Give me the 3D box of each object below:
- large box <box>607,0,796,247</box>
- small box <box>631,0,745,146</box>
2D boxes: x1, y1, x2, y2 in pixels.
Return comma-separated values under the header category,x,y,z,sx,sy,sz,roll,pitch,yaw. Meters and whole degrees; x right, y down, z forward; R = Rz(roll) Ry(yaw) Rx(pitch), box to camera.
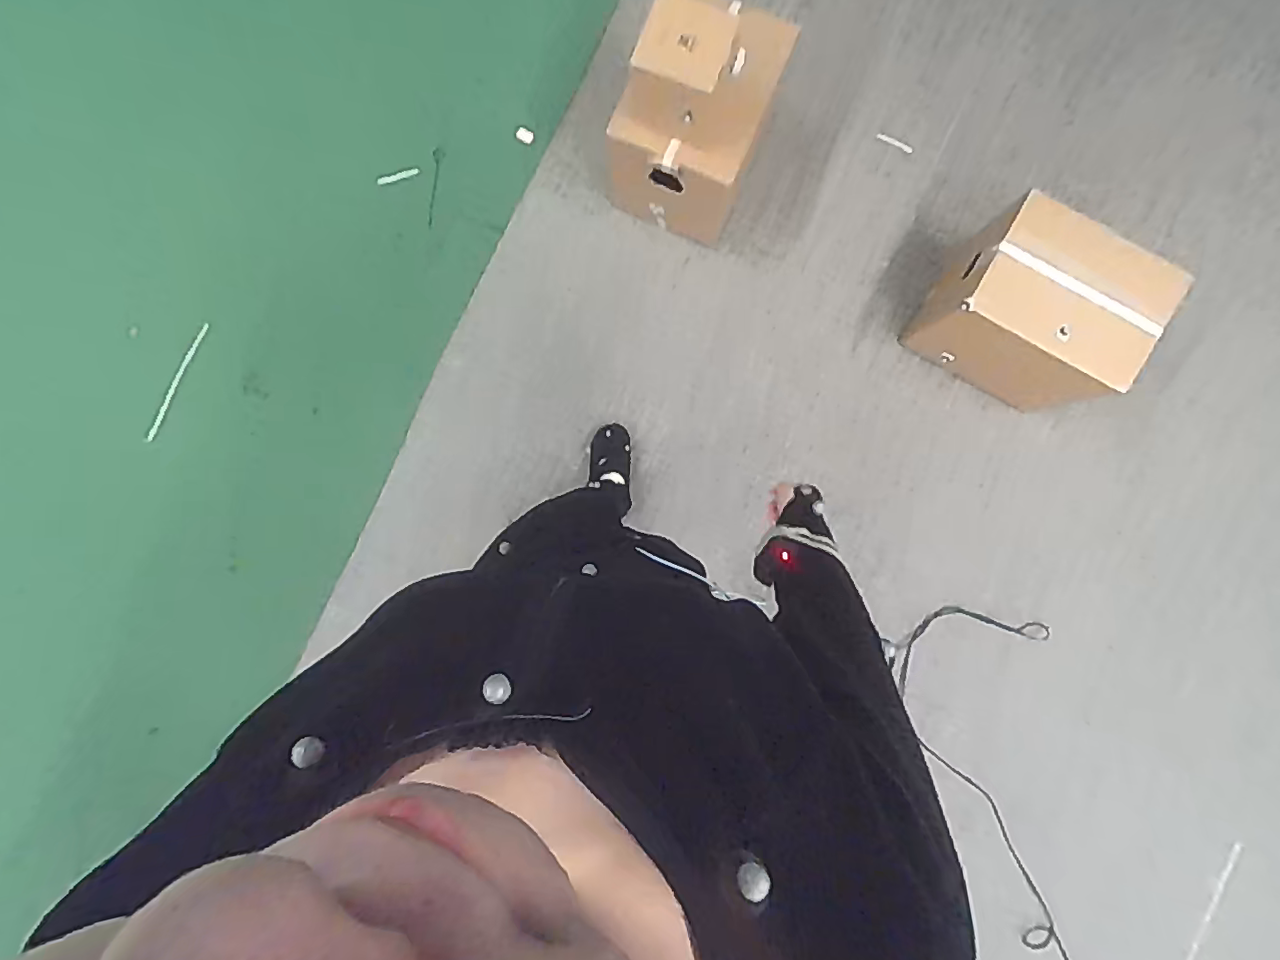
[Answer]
category,x,y,z,sx,sy,sz,roll,pitch,yaw
large box,0.142,-0.887,1.369,0.320,0.320,0.408,24,88,1
small box,0.095,-0.838,1.123,0.179,0.176,0.168,23,88,3
